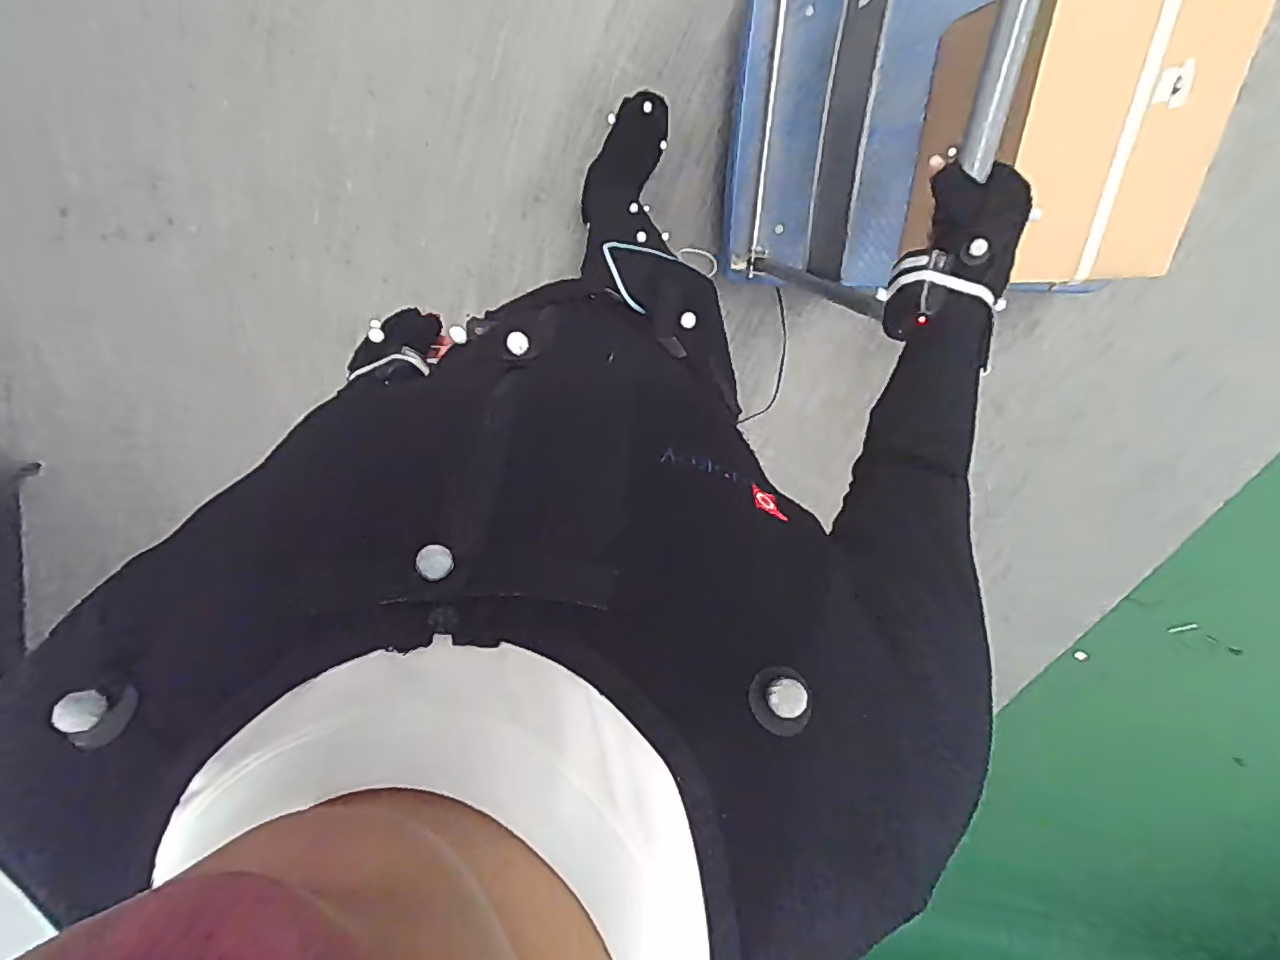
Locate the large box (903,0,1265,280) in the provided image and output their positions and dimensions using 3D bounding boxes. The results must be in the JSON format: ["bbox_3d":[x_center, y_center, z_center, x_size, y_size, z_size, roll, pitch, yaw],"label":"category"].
[{"bbox_3d":[0.706,-0.582,0.940,0.320,0.320,0.408,-3,118,-2],"label":"large box"}]
